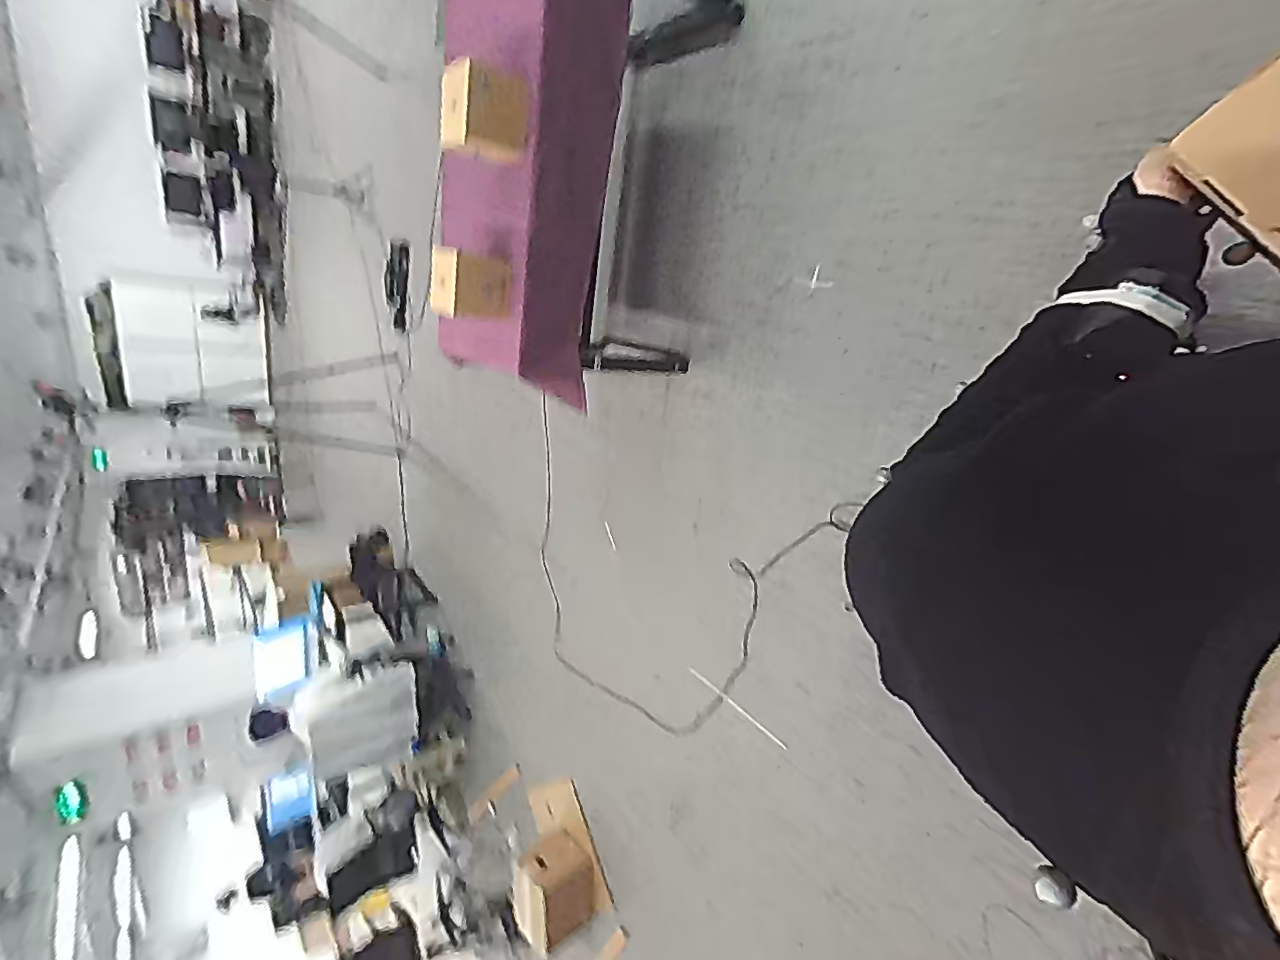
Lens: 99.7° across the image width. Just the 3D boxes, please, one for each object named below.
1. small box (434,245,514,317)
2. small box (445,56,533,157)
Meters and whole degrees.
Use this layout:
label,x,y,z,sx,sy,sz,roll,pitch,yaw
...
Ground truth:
label,x,y,z,sx,sy,sz,roll,pitch,yaw
small box,-0.483,-0.577,1.575,0.179,0.176,0.168,30,117,43
small box,-0.396,-0.965,1.418,0.168,0.176,0.179,28,116,43
